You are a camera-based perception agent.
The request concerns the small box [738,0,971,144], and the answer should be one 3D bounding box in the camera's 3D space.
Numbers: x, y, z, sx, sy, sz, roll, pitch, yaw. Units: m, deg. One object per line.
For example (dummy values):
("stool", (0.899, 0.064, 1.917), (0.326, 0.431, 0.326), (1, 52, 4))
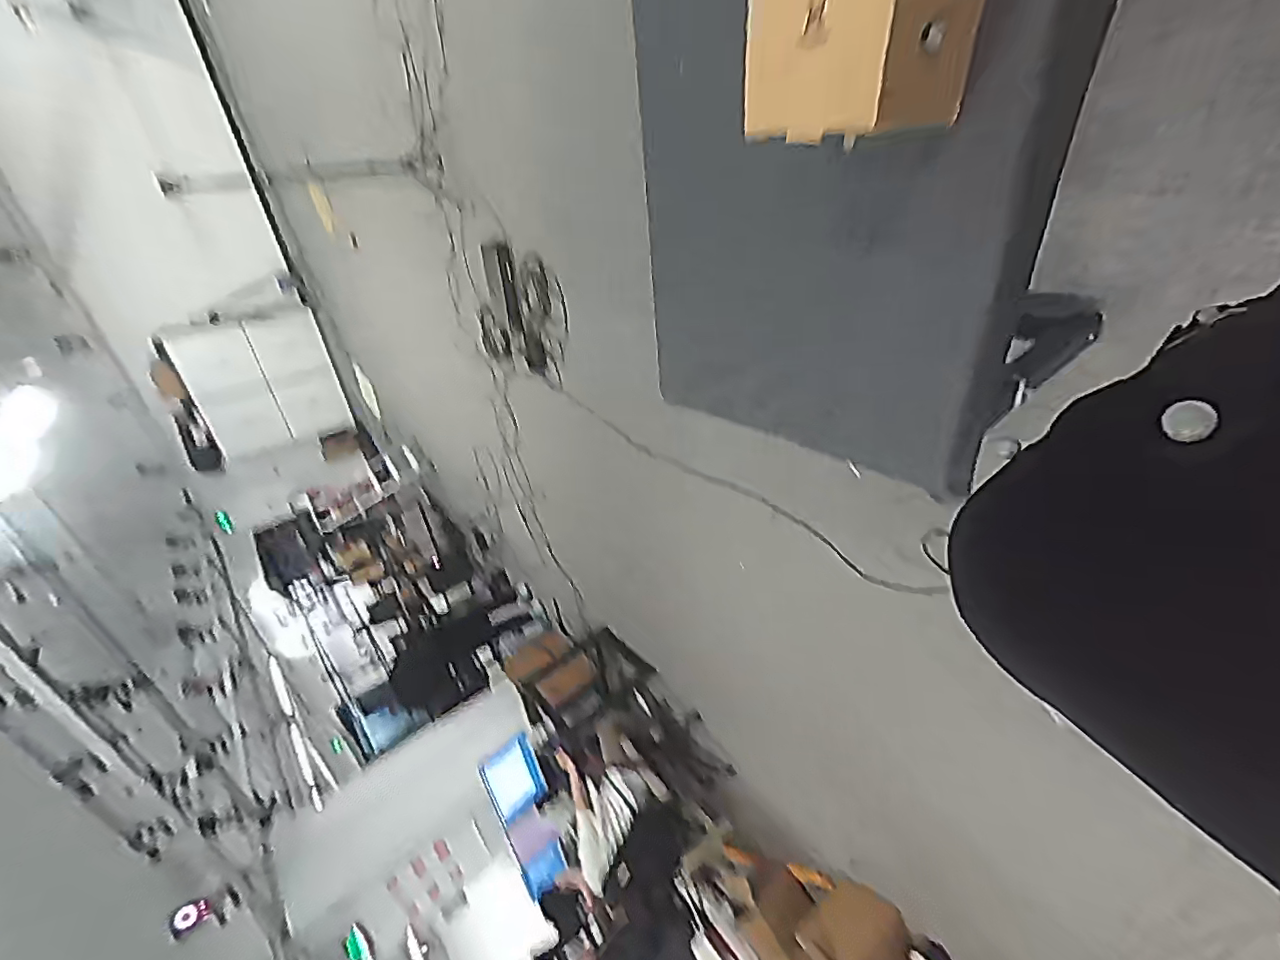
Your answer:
("small box", (0.222, -0.465, 0.568), (0.168, 0.176, 0.179), (32, 138, 42))
